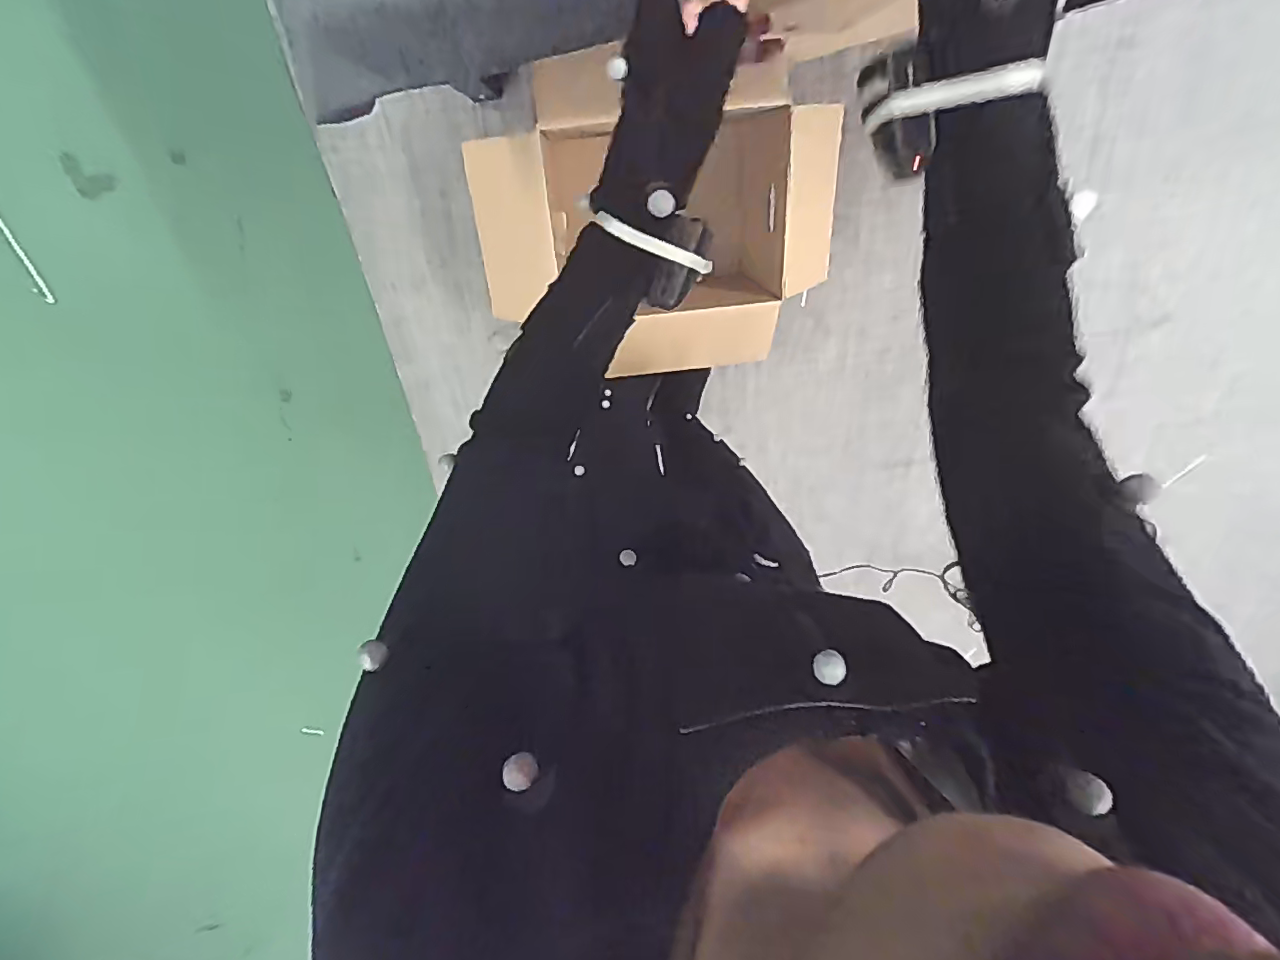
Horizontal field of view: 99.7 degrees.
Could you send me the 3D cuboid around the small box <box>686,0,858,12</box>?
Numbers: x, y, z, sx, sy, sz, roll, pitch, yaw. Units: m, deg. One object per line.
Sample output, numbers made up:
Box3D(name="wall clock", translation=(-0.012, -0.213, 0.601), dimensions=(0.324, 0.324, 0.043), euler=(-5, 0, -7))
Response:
Box3D(name="small box", translation=(0.108, -0.422, 0.325), dimensions=(0.168, 0.176, 0.179), euler=(-5, 117, -2))
